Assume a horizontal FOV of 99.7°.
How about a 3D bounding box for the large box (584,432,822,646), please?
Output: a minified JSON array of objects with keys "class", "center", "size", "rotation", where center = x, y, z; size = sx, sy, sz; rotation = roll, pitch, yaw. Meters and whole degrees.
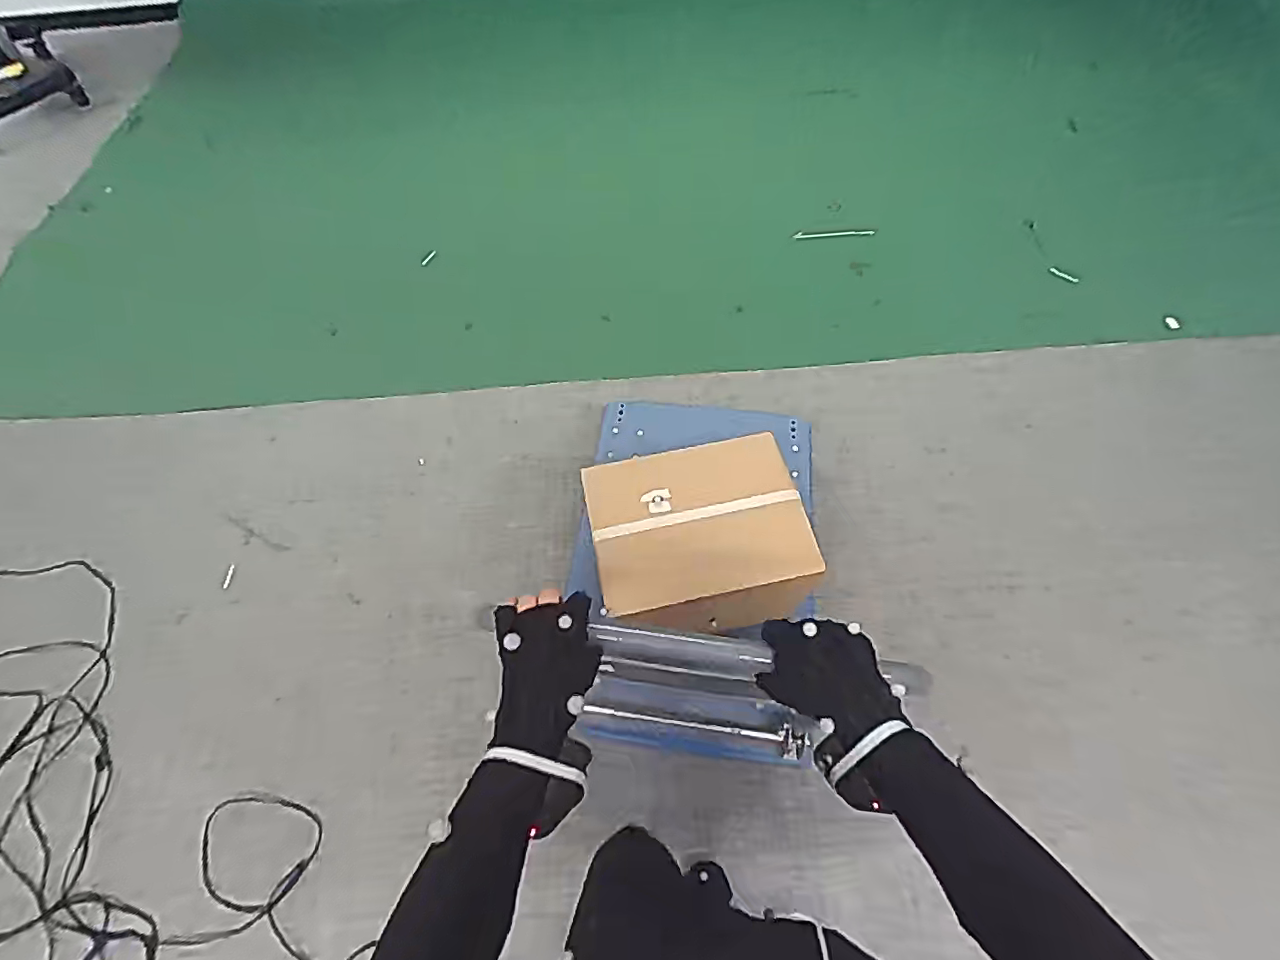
[{"class":"large box","center":[0.118,0.140,1.170],"size":[0.408,0.320,0.320],"rotation":[-11,61,-3]}]
